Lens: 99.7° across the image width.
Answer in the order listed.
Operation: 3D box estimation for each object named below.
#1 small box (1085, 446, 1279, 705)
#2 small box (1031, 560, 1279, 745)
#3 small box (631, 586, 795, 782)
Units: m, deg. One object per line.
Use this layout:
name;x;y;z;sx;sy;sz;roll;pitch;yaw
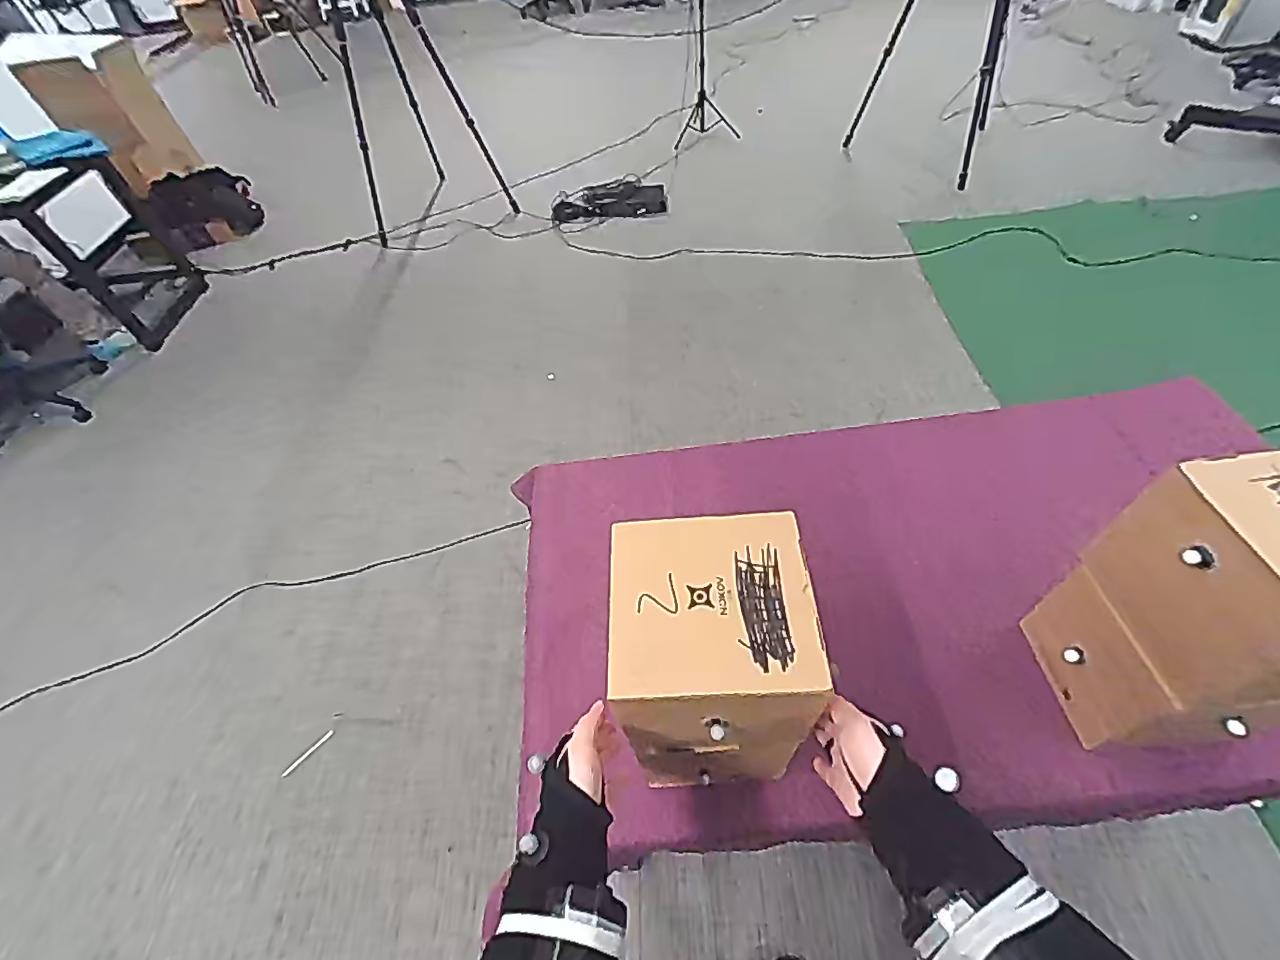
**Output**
small box;0.578;0.088;0.502;0.168;0.176;0.179;-8;51;2
small box;0.596;0.197;0.625;0.179;0.176;0.168;-6;51;3
small box;0.078;0.249;0.656;0.168;0.176;0.179;-6;52;3
